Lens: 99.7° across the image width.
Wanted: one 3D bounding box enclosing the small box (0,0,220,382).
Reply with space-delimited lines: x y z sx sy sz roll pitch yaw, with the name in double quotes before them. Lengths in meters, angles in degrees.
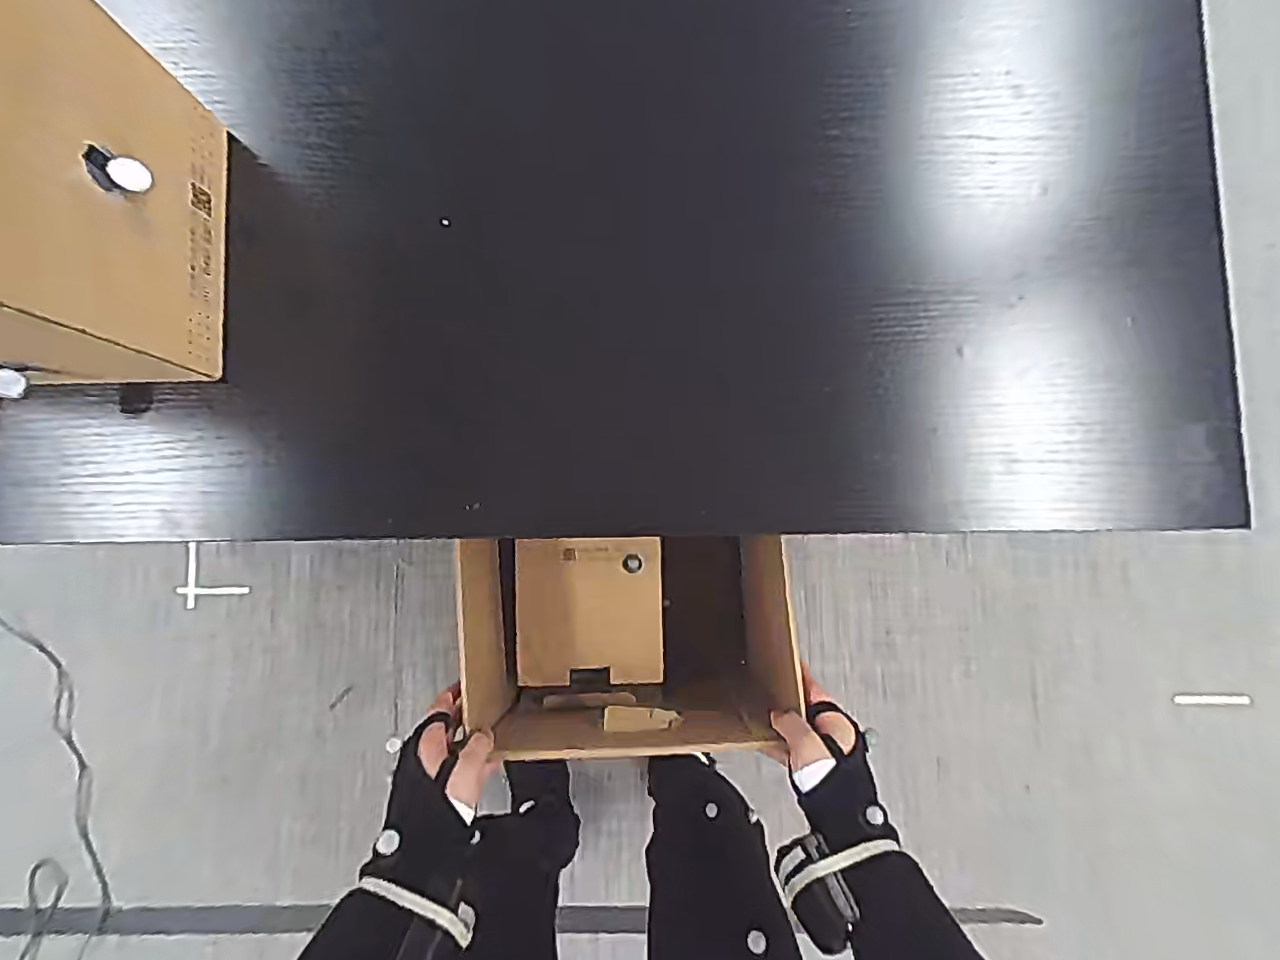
"small box" -0.337 -0.146 0.249 0.179 0.176 0.168 -2 86 -3
